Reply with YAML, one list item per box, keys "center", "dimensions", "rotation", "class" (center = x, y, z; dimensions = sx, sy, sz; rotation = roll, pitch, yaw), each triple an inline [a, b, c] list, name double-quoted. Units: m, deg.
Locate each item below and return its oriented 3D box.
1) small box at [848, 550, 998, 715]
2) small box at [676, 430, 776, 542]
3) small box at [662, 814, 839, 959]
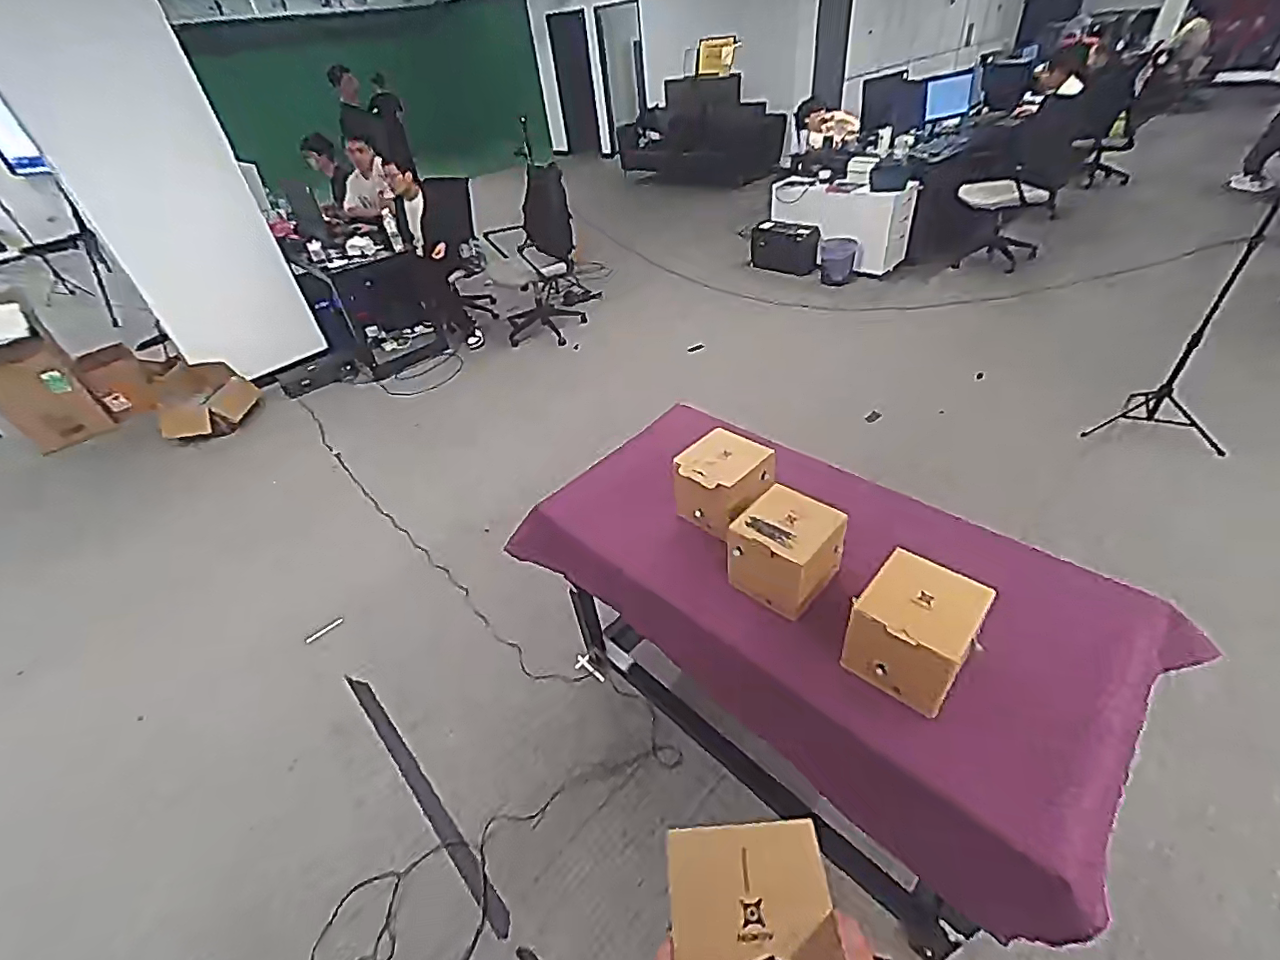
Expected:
- center: [0.480, 0.261, 0.938]
  dimensions: [0.168, 0.176, 0.179]
  rotation: [27, 50, 35]
  class: "small box"
- center: [0.203, 0.013, 1.286]
  dimensions: [0.168, 0.176, 0.179]
  rotation: [28, 51, 37]
  class: "small box"
- center: [0.117, 0.496, 0.602]
  dimensions: [0.168, 0.176, 0.179]
  rotation: [-6, 46, 2]
  class: "small box"
